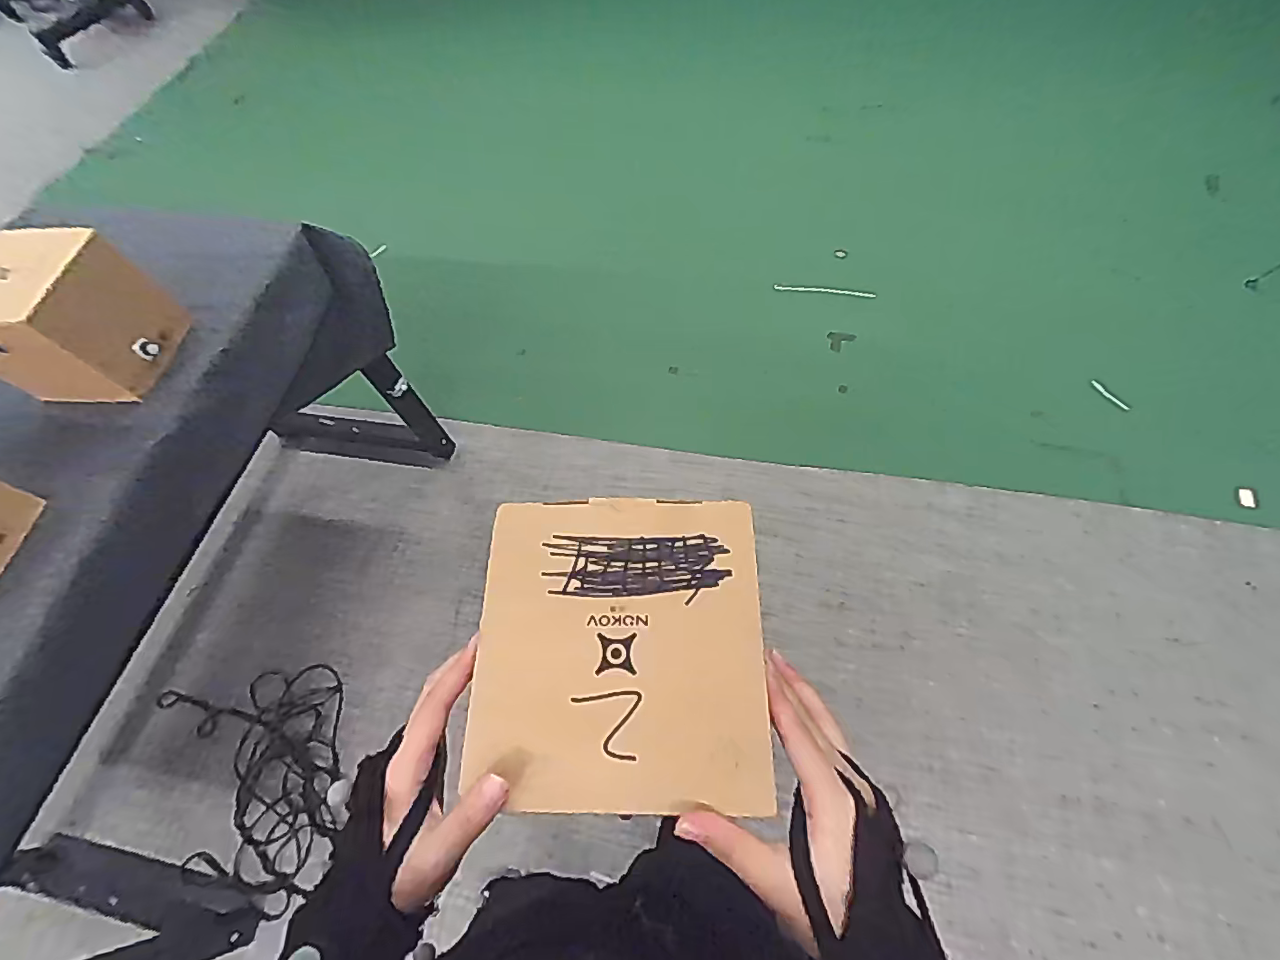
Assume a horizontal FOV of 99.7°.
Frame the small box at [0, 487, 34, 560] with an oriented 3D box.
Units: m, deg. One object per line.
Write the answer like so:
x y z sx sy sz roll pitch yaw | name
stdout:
-0.877 0.060 0.608 0.179 0.176 0.168 2 63 7 | small box

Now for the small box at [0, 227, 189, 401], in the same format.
-0.799 -0.223 0.750 0.179 0.176 0.168 2 64 6 | small box
